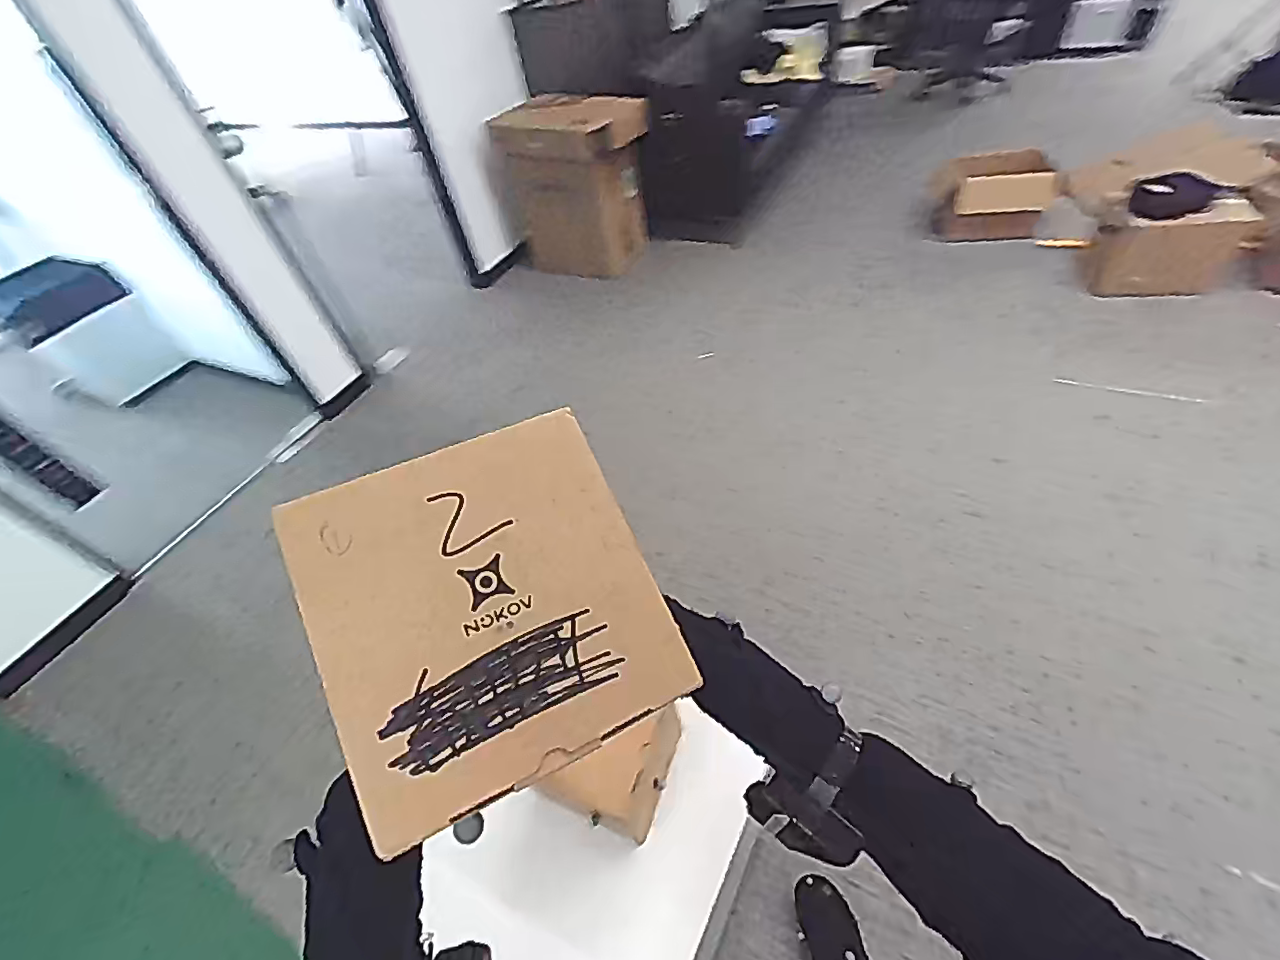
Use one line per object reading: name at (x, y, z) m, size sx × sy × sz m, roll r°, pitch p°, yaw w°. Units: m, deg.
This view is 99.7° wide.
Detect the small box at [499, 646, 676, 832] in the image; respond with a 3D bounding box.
small box at (-0.061, 0.365, 0.761) m, size 0.179 × 0.176 × 0.168 m, roll 12°, pitch 53°, yaw 21°
